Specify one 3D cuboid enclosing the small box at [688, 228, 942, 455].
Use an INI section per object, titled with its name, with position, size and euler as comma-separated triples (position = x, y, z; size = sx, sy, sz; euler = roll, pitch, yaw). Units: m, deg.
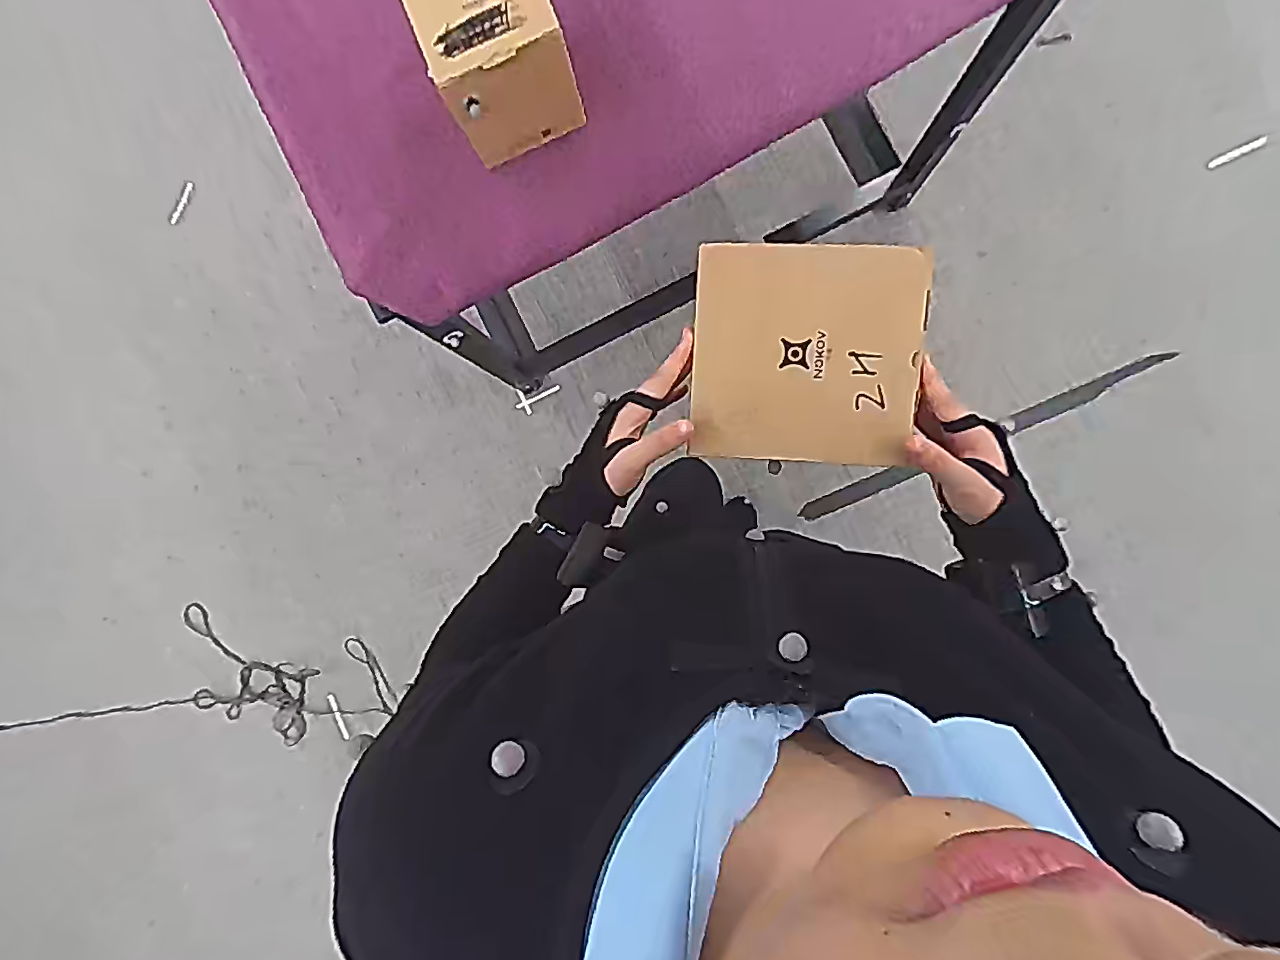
[small box]
position = 0.139, -0.115, 0.492
size = 0.179, 0.176, 0.168
euler = 4, 99, 6
